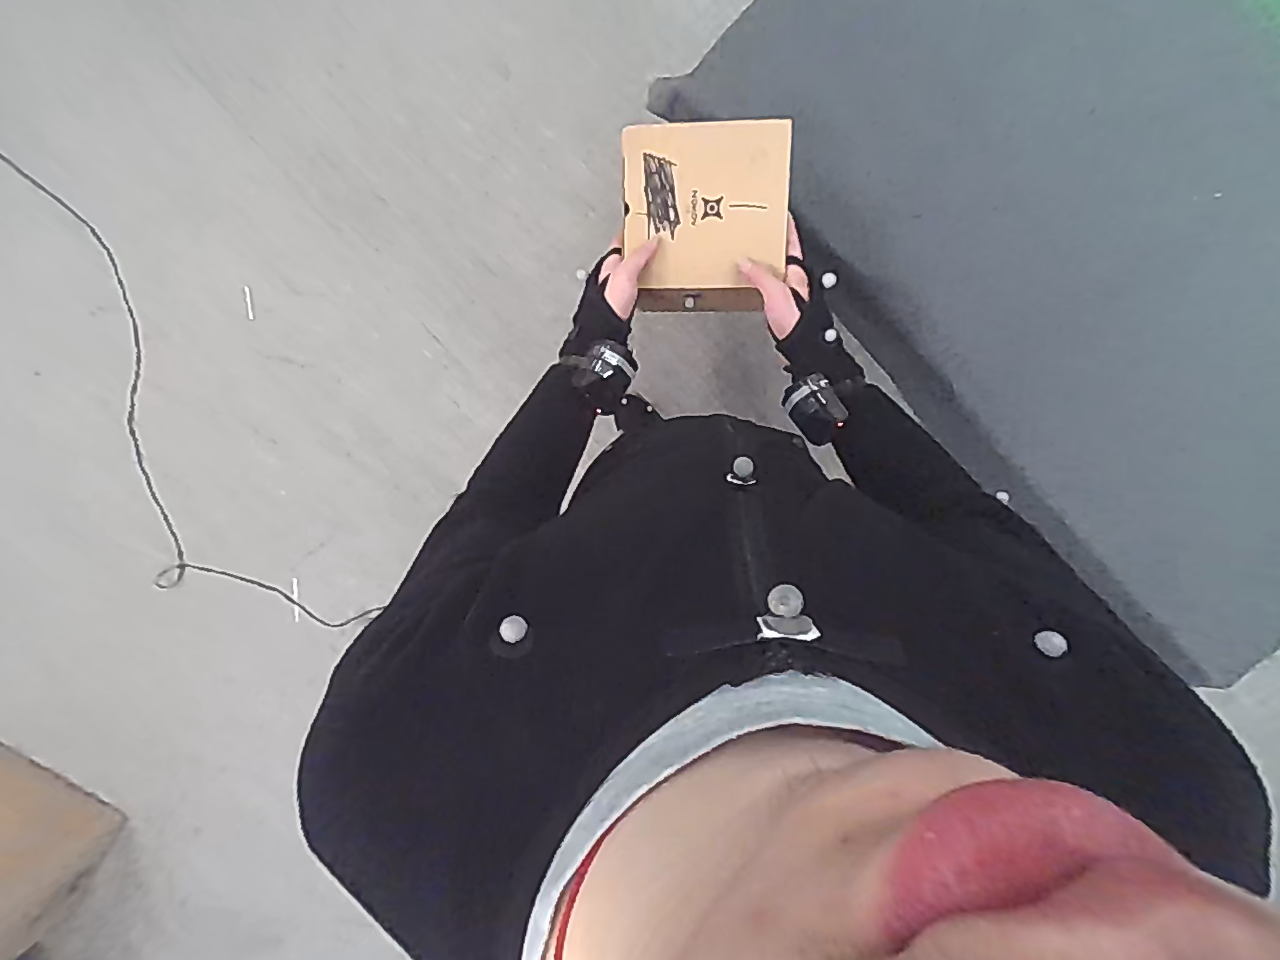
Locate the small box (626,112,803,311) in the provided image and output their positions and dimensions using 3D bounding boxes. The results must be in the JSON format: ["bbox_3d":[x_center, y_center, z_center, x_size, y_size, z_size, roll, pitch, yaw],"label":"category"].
[{"bbox_3d":[0.078,-0.292,0.625,0.179,0.176,0.168,0,99,3],"label":"small box"}]
